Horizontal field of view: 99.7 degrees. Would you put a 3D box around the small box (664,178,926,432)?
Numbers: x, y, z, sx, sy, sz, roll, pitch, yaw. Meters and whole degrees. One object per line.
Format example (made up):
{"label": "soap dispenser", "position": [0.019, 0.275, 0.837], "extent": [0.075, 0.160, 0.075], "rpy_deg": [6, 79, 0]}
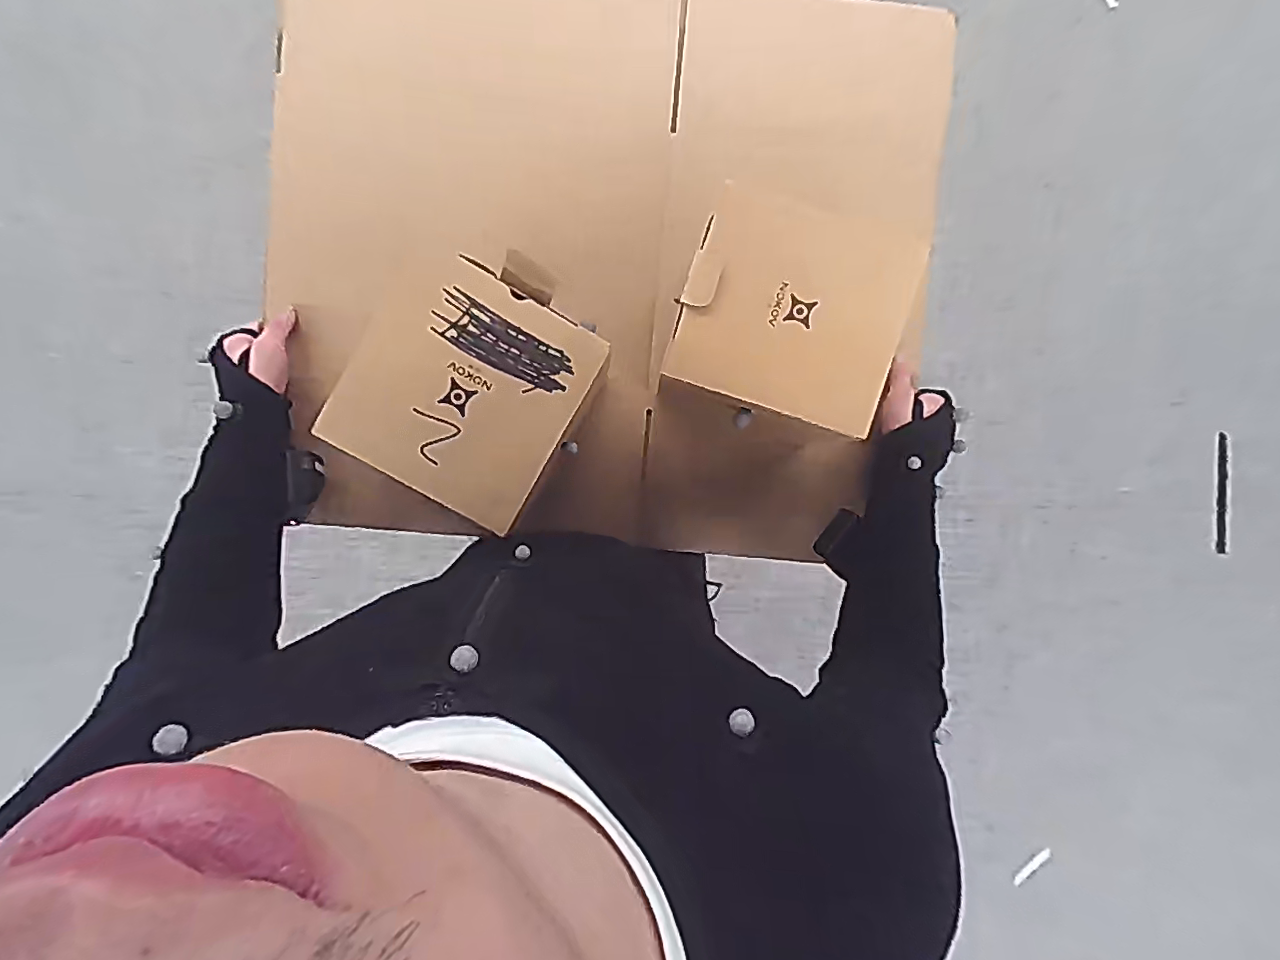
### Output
{"label": "small box", "position": [0.130, -0.149, 0.524], "extent": [0.179, 0.176, 0.168], "rpy_deg": [18, 93, 1]}
